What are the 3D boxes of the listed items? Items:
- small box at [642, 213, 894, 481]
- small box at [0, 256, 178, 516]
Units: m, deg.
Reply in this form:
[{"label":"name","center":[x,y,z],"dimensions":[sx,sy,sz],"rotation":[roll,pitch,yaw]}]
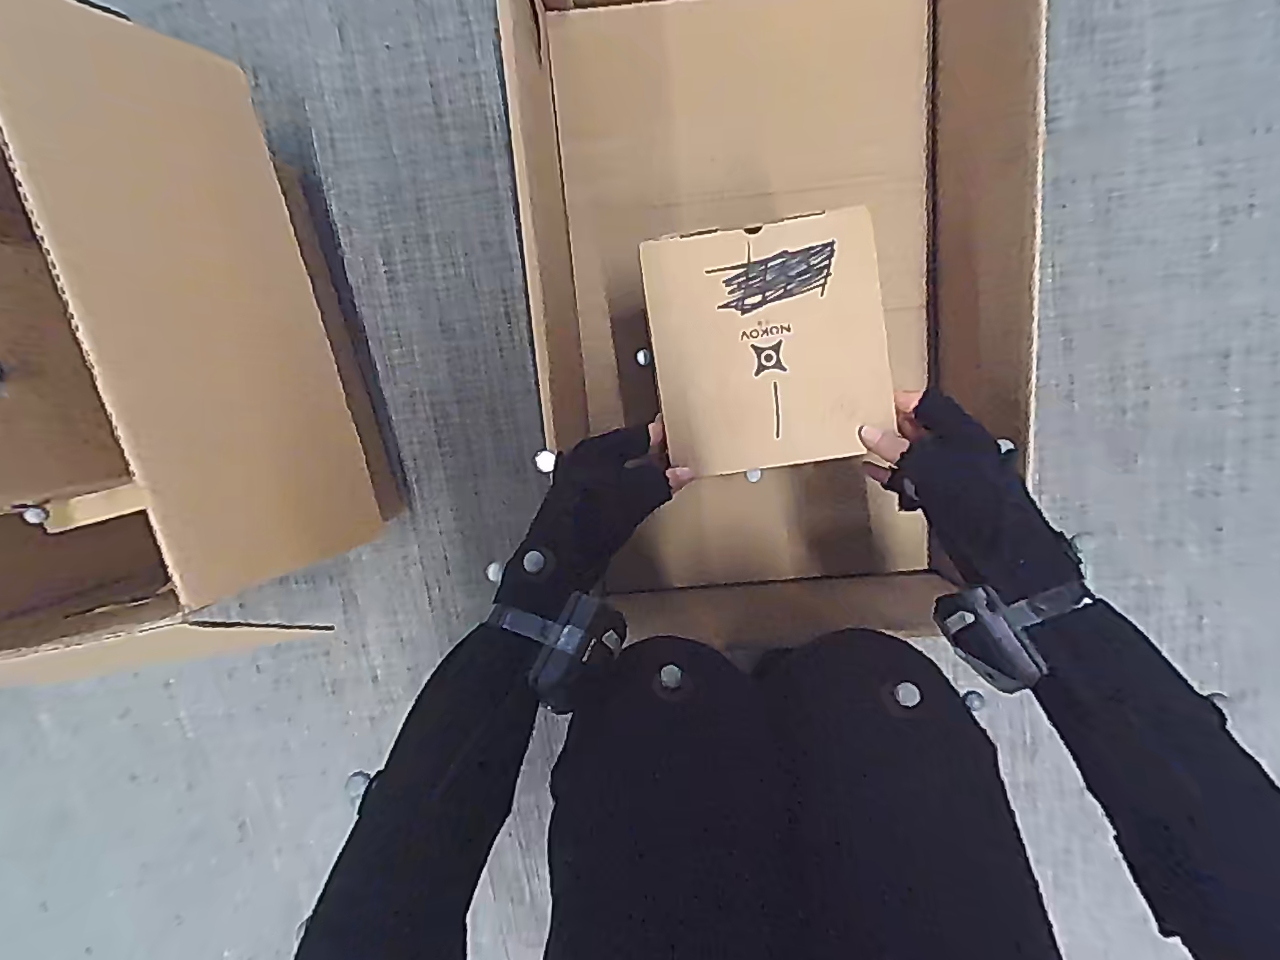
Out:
[{"label":"small box","center":[0.094,-0.097,0.469],"dimensions":[0.168,0.176,0.179],"rotation":[-9,93,3]},{"label":"small box","center":[-0.492,-0.058,0.385],"dimensions":[0.168,0.176,0.179],"rotation":[-13,99,4]}]
